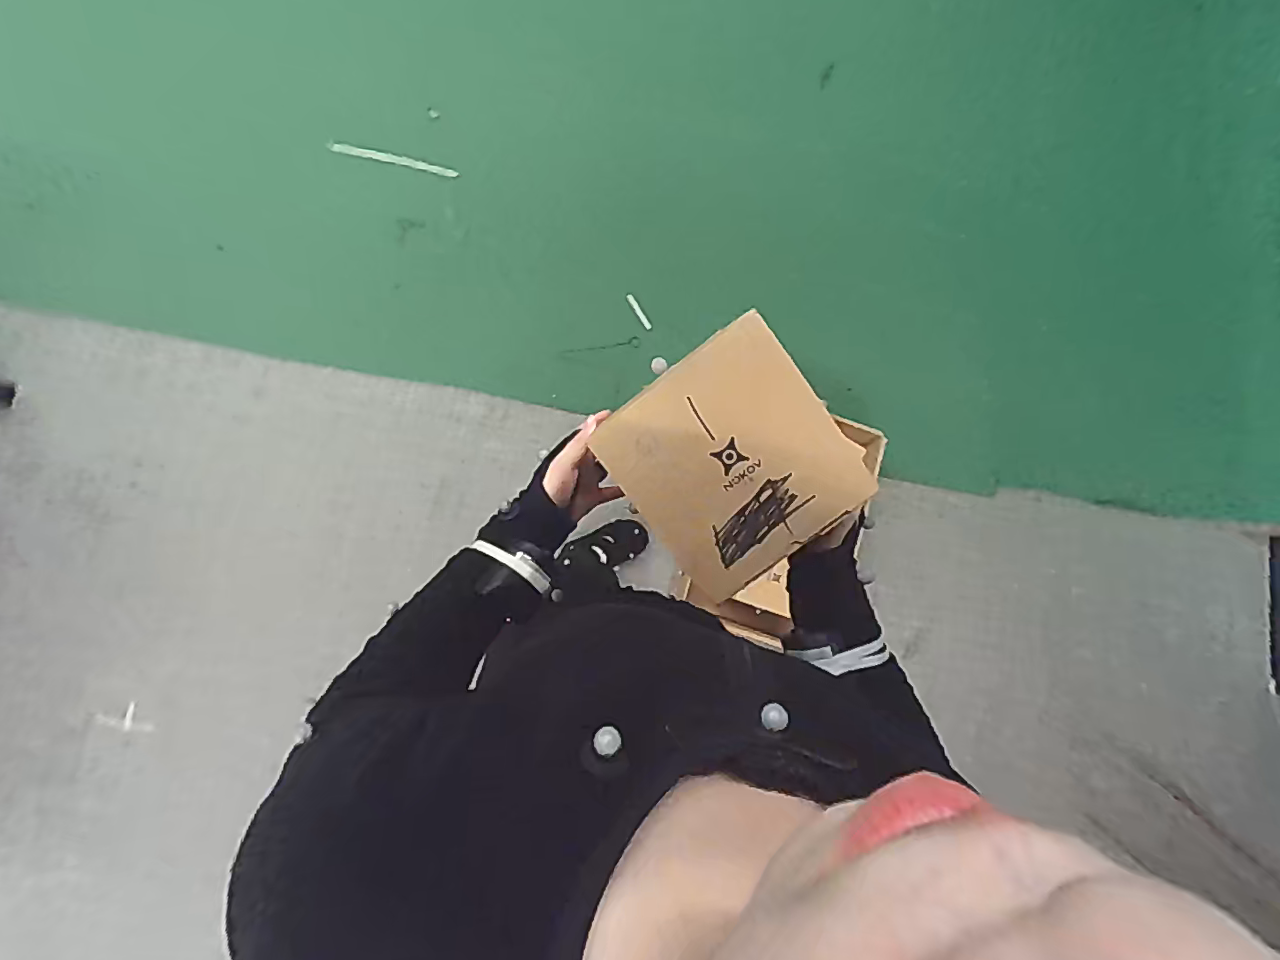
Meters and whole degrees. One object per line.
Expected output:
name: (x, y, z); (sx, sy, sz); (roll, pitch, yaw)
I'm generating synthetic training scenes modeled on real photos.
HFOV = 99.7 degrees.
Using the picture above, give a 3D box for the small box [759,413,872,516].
small box: (0.402, -0.029, 1.274); (0.168, 0.176, 0.179); (29, 84, 0)
